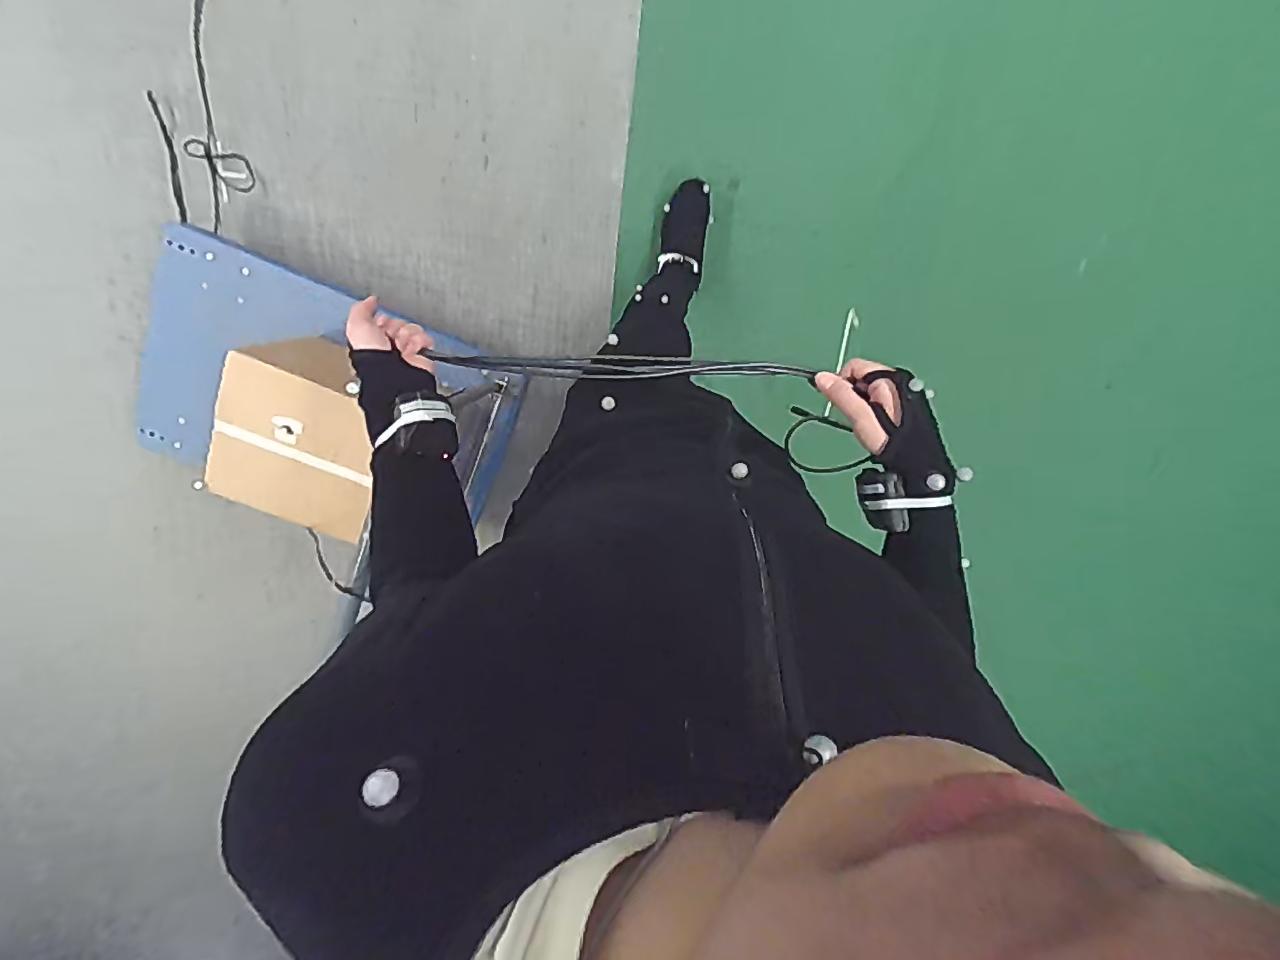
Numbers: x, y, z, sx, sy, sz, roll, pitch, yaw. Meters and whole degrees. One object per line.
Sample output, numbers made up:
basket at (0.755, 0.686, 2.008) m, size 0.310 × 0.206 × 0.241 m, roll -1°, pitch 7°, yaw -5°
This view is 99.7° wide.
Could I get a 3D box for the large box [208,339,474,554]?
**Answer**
large box at (-0.647, -0.090, 1.228) m, size 0.408 × 0.320 × 0.320 m, roll 22°, pitch 107°, yaw -8°
